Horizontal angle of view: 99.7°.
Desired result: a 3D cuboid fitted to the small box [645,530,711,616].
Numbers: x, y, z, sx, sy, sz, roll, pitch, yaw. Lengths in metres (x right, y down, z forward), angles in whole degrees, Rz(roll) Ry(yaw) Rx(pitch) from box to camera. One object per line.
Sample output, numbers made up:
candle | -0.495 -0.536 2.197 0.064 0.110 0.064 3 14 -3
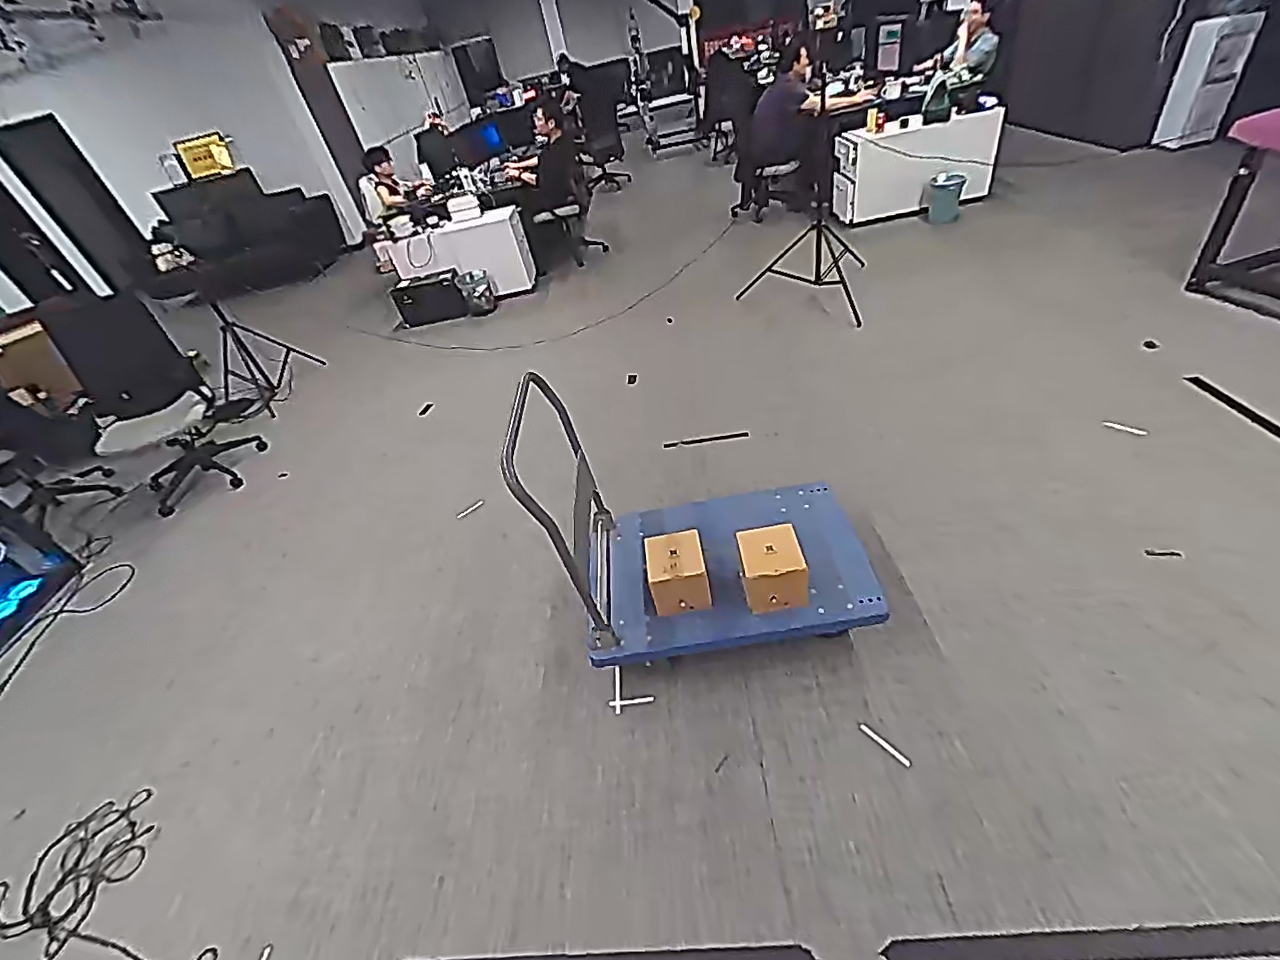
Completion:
small box | 0.113 0.280 1.627 0.168 0.176 0.179 -11 40 5

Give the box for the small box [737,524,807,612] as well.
small box | 0.380 0.258 1.574 0.168 0.176 0.179 -10 40 5
